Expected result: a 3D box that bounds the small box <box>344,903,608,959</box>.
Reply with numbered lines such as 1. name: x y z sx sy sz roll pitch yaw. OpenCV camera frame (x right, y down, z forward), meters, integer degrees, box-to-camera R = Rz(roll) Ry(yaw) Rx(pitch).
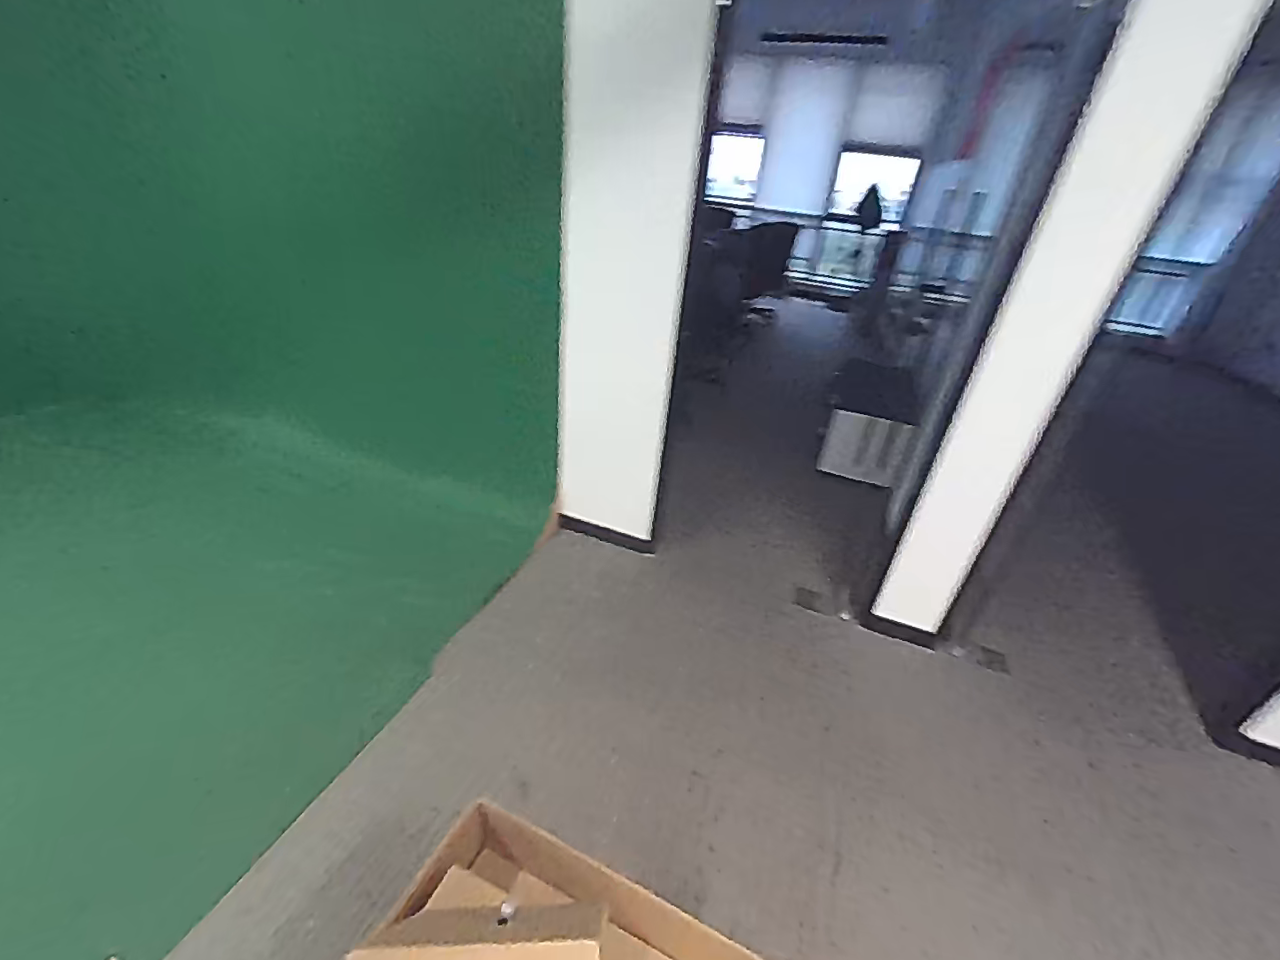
1. small box: -0.114 0.428 0.396 0.179 0.176 0.168 0 60 -3
